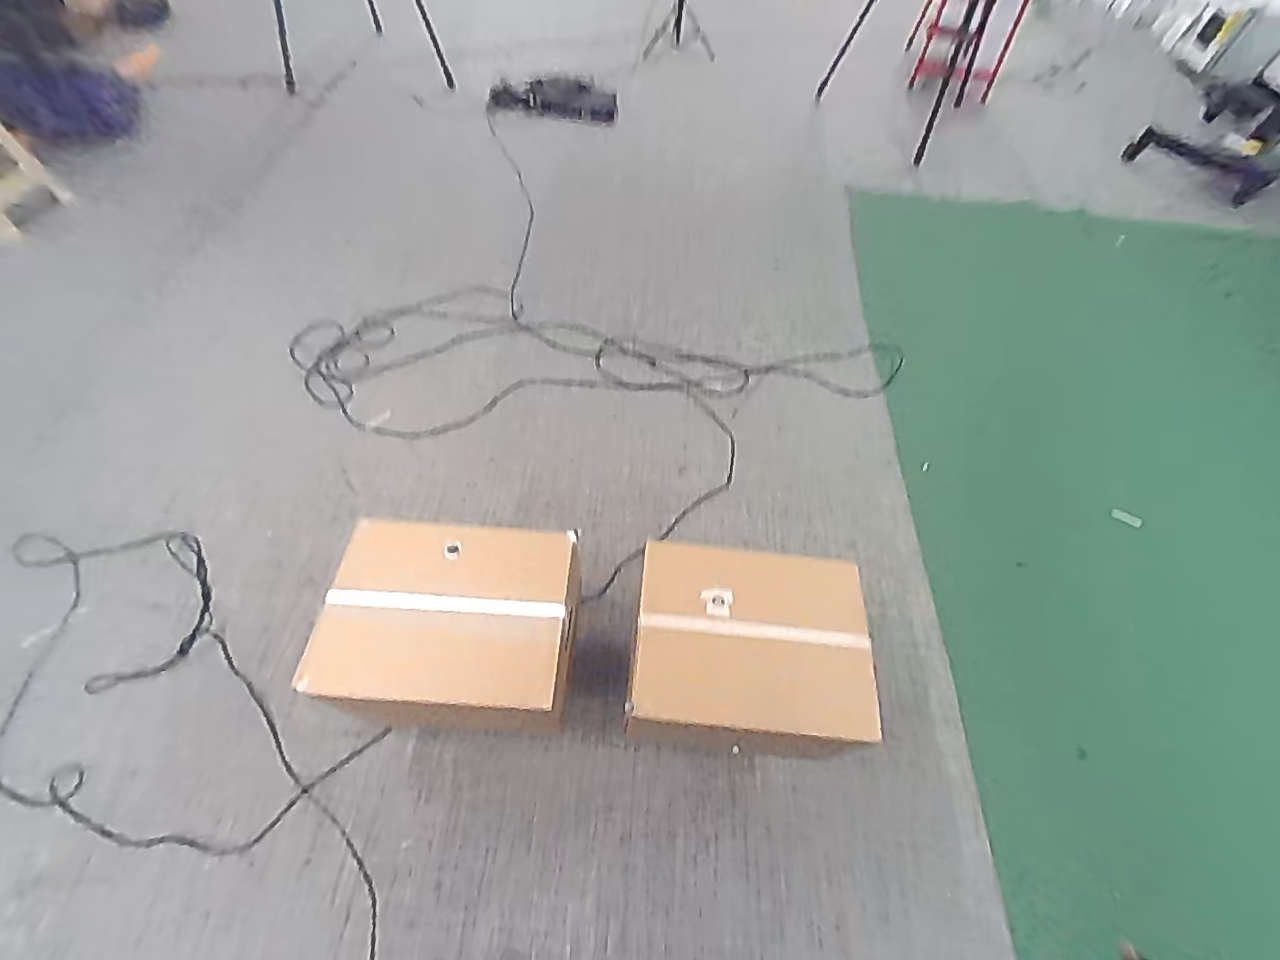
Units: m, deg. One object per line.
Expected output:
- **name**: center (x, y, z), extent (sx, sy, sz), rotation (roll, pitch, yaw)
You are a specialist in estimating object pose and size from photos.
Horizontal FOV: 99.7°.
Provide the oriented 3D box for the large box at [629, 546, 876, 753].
- **large box**: center (0.195, 0.351, 1.083), extent (0.408, 0.320, 0.320), rotation (6, 57, 1)
